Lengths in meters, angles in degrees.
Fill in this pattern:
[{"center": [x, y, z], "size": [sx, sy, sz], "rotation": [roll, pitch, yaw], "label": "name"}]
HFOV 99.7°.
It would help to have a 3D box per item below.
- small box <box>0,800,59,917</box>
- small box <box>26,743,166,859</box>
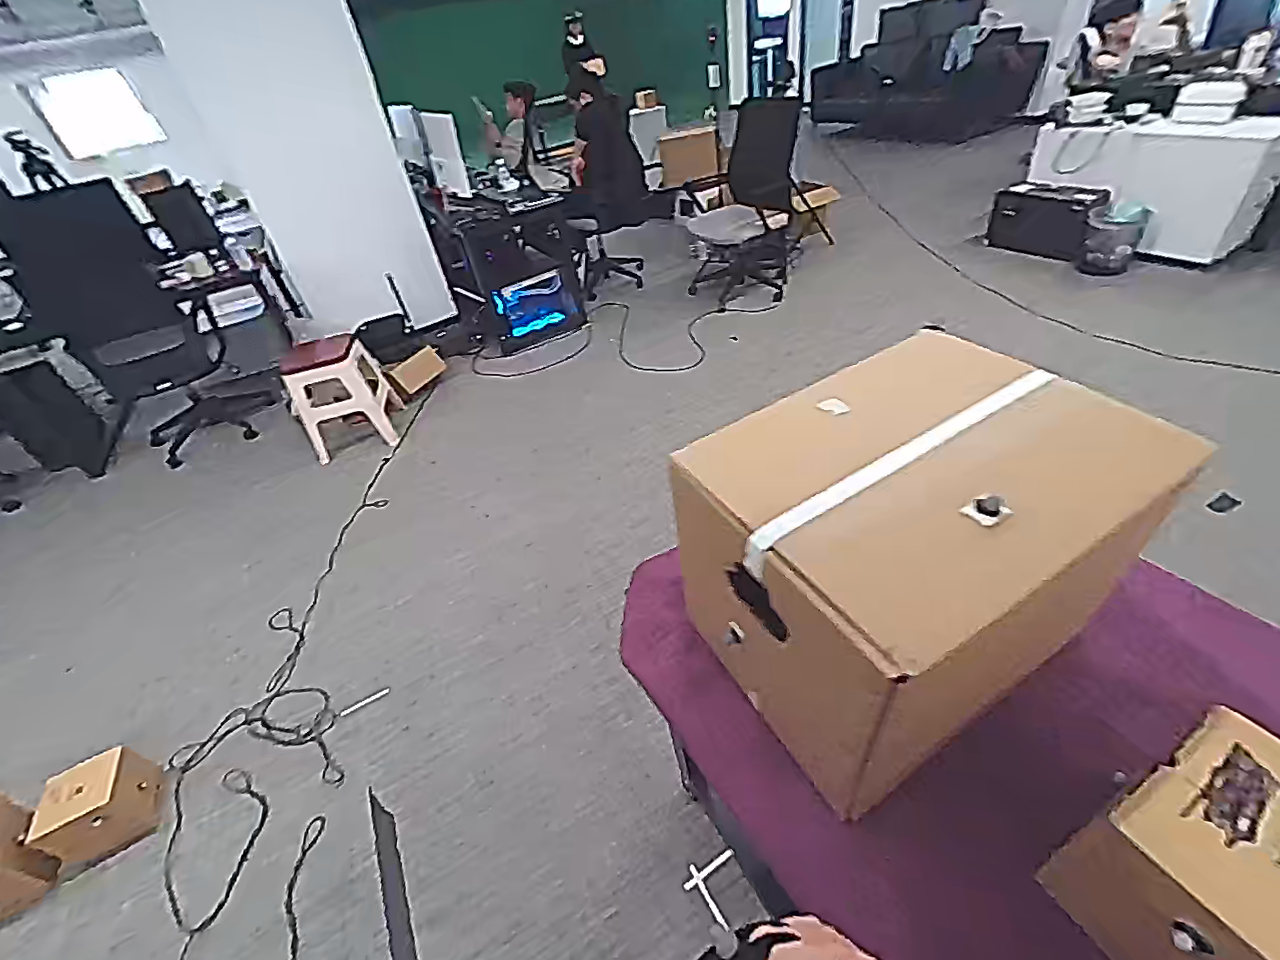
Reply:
[{"center": [-1.568, 0.932, 1.310], "size": [0.168, 0.176, 0.179], "rotation": [-31, 44, -22], "label": "small box"}, {"center": [-1.377, 0.823, 1.388], "size": [0.179, 0.176, 0.168], "rotation": [-25, 41, -15], "label": "small box"}]
